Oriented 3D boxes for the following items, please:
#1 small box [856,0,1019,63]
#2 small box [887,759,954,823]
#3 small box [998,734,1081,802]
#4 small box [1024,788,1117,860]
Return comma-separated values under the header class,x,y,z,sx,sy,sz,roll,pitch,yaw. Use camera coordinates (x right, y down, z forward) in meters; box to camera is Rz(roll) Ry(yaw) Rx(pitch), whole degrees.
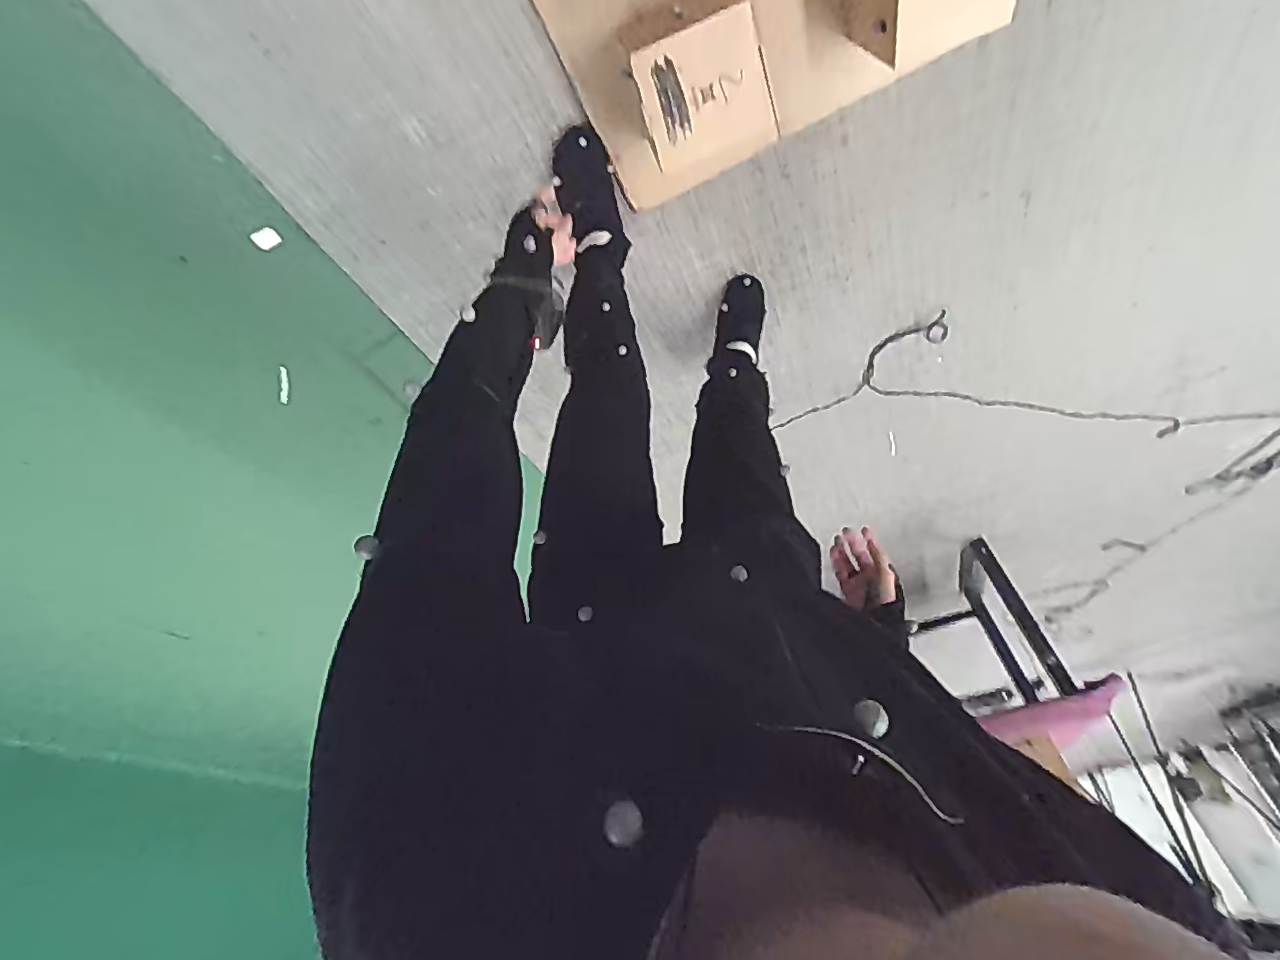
class,x,y,z,sx,sy,sz,roll,pitch,yaw
small box,0.415,-0.736,0.758,0.168,0.176,0.179,-17,139,8
small box,1.010,1.122,1.953,0.168,0.176,0.179,-22,140,15
small box,1.364,0.990,1.859,0.168,0.176,0.179,-22,138,15
small box,1.378,1.109,1.747,0.168,0.176,0.179,-21,138,14
